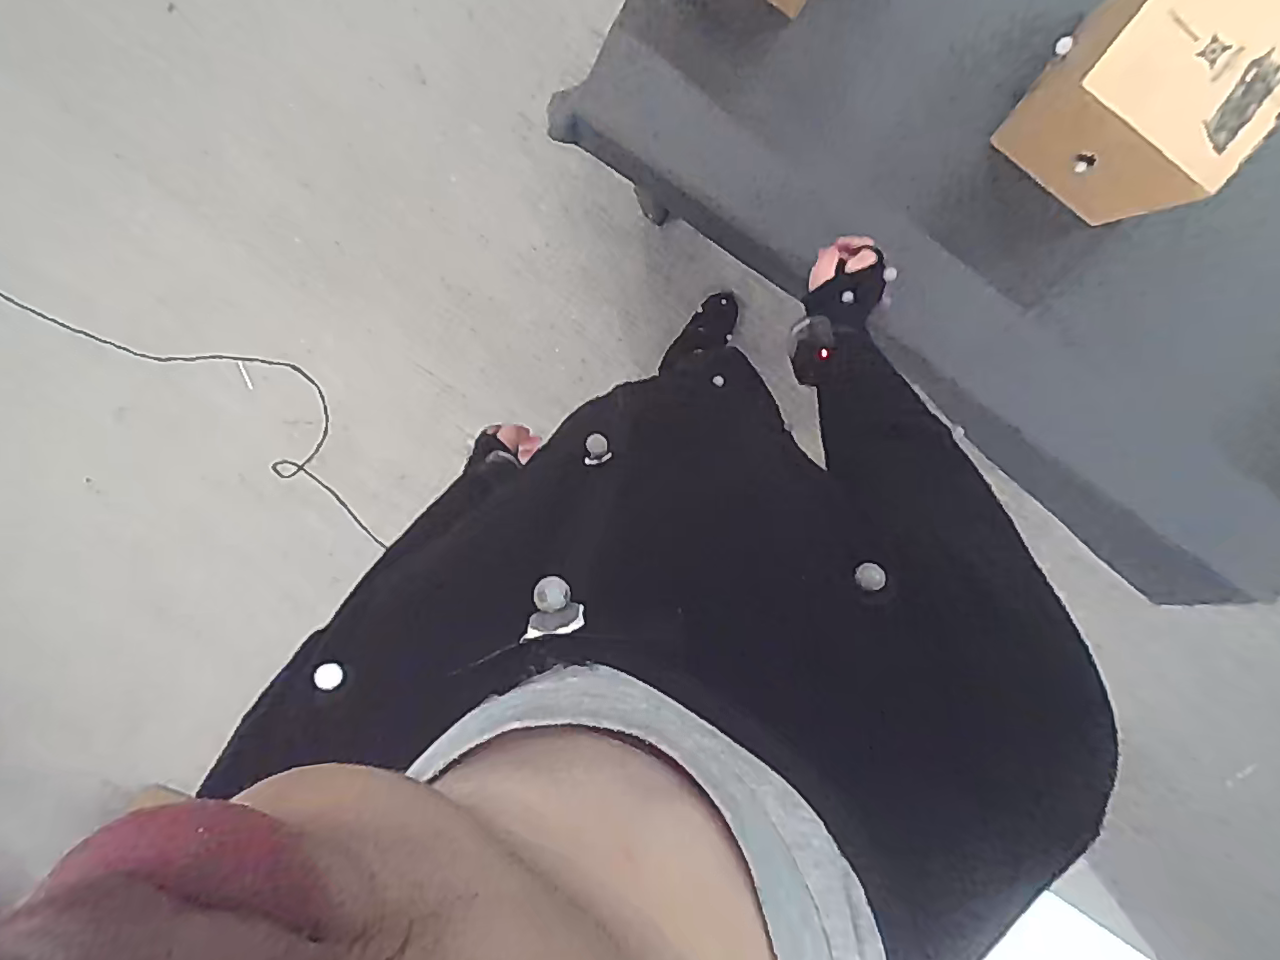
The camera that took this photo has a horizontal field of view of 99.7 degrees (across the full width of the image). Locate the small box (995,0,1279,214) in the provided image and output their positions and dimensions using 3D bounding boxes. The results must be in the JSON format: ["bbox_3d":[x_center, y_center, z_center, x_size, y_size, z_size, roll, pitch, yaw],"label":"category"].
[{"bbox_3d":[0.539,-0.411,0.574,0.179,0.176,0.168,36,105,-6],"label":"small box"}]
